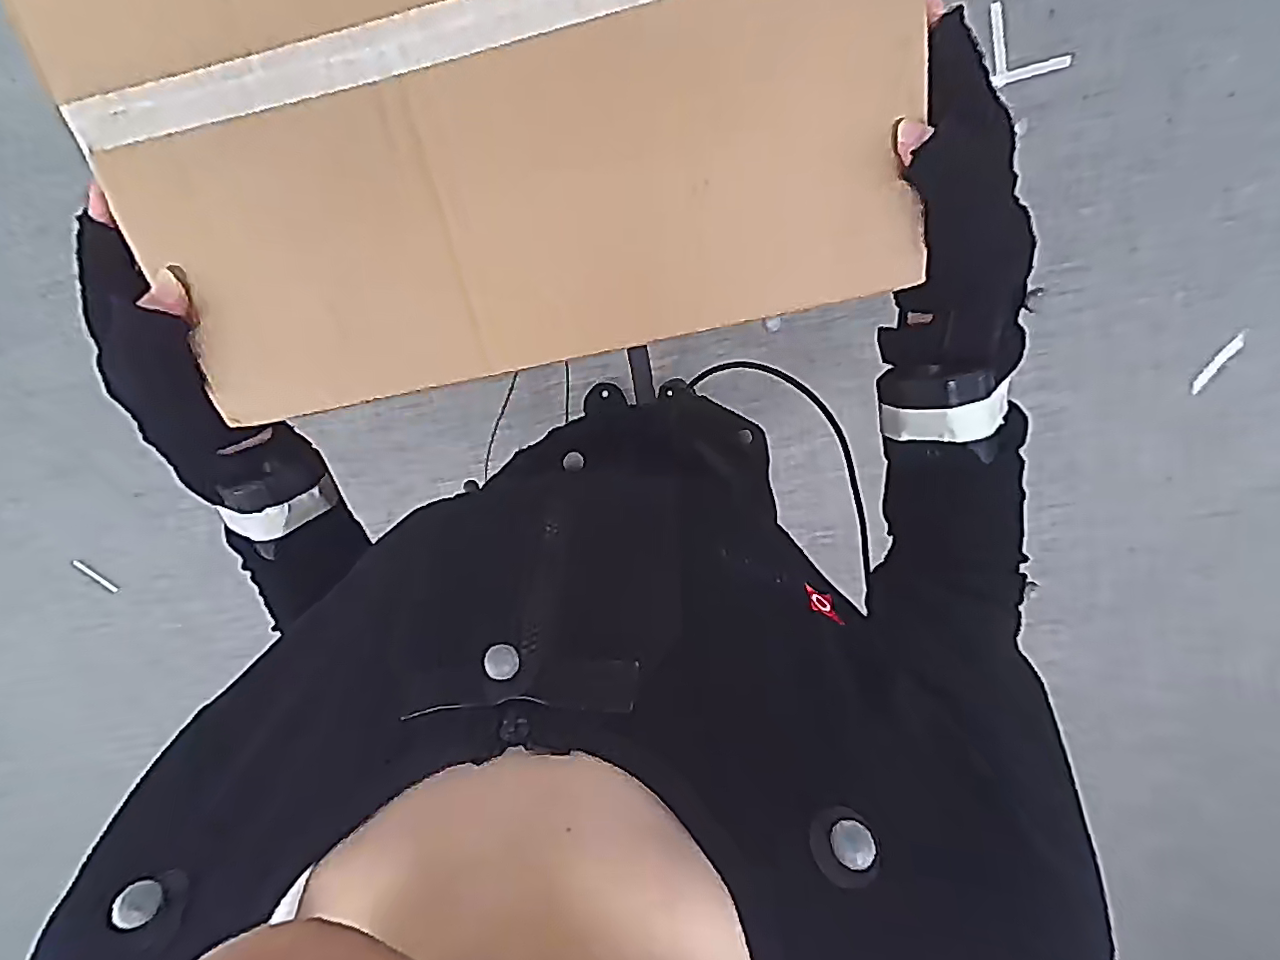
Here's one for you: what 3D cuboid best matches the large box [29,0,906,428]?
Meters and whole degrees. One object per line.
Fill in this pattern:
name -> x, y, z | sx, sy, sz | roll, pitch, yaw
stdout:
large box -> -0.075, -0.266, 0.395 | 0.408, 0.320, 0.320 | -11, 112, 5
